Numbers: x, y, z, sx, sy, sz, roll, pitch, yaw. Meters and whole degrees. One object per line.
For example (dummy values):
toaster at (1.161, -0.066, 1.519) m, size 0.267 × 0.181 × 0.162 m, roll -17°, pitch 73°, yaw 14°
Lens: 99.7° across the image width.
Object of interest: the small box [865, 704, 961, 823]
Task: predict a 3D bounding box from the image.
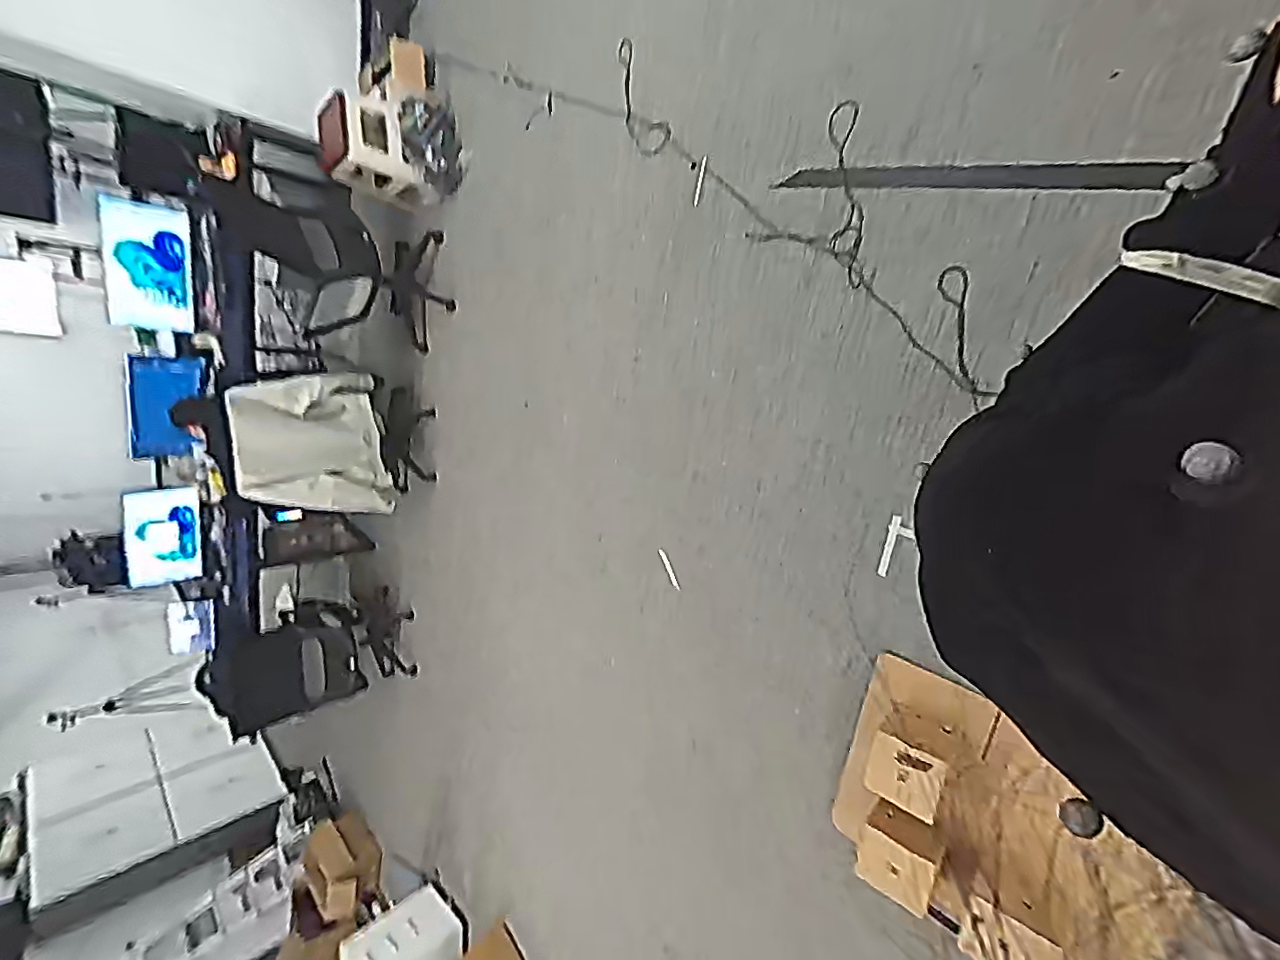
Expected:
small box at (0.700, 0.709, 1.379) m, size 0.168 × 0.176 × 0.179 m, roll 17°, pitch 107°, yaw 39°

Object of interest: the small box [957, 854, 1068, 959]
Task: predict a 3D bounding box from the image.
small box at (0.873, 1.032, 1.263) m, size 0.179 × 0.176 × 0.168 m, roll 16°, pitch 106°, yaw 38°
